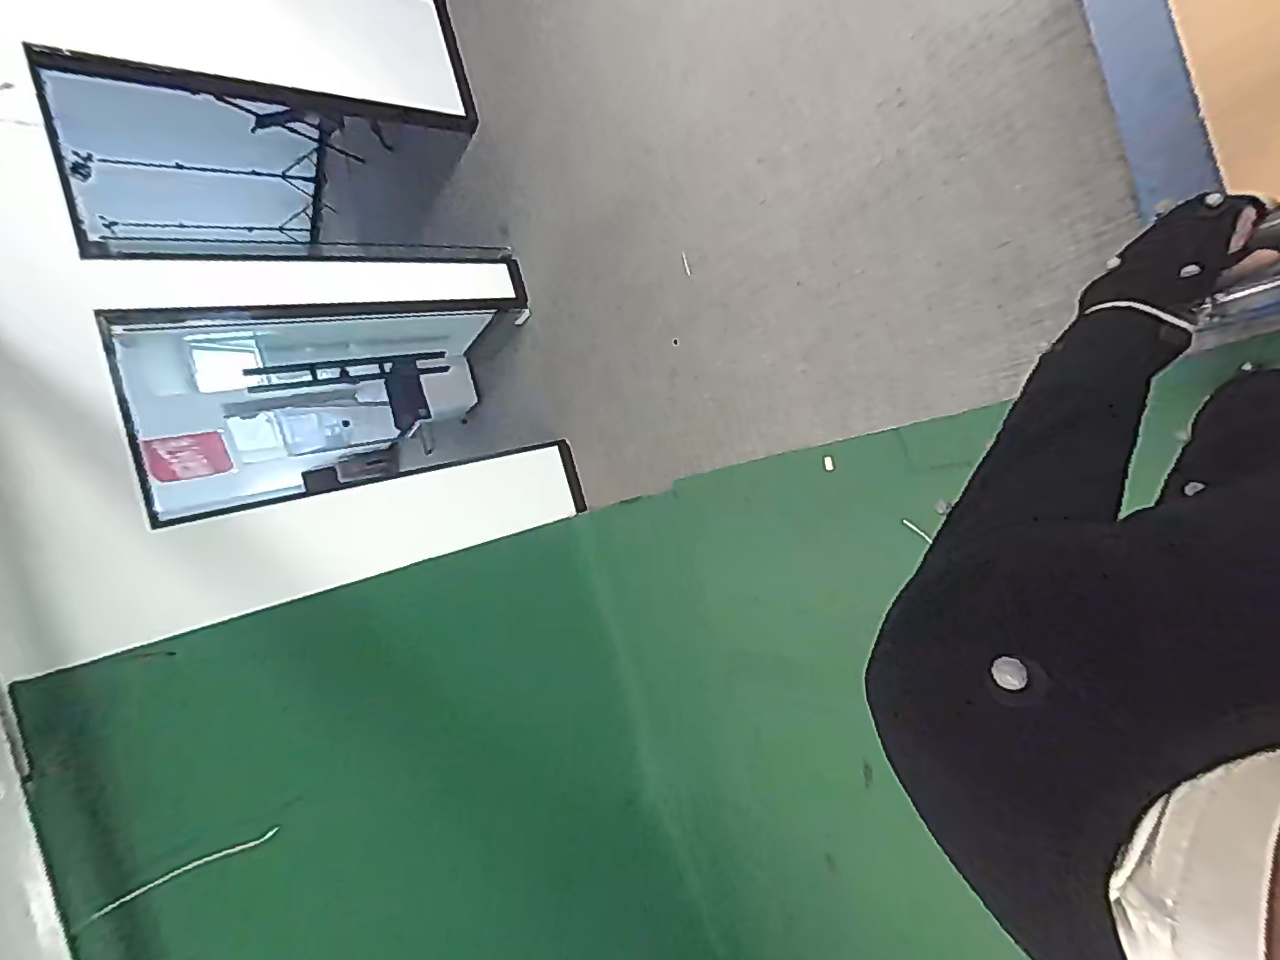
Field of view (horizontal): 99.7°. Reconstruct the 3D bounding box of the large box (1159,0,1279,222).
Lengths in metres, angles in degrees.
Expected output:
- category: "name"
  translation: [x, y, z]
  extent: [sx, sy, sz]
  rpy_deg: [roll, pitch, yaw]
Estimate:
- category: "large box"
  translation: [0.992, -0.628, 0.735]
  extent: [0.320, 0.320, 0.408]
  rpy_deg: [-18, 87, 55]
